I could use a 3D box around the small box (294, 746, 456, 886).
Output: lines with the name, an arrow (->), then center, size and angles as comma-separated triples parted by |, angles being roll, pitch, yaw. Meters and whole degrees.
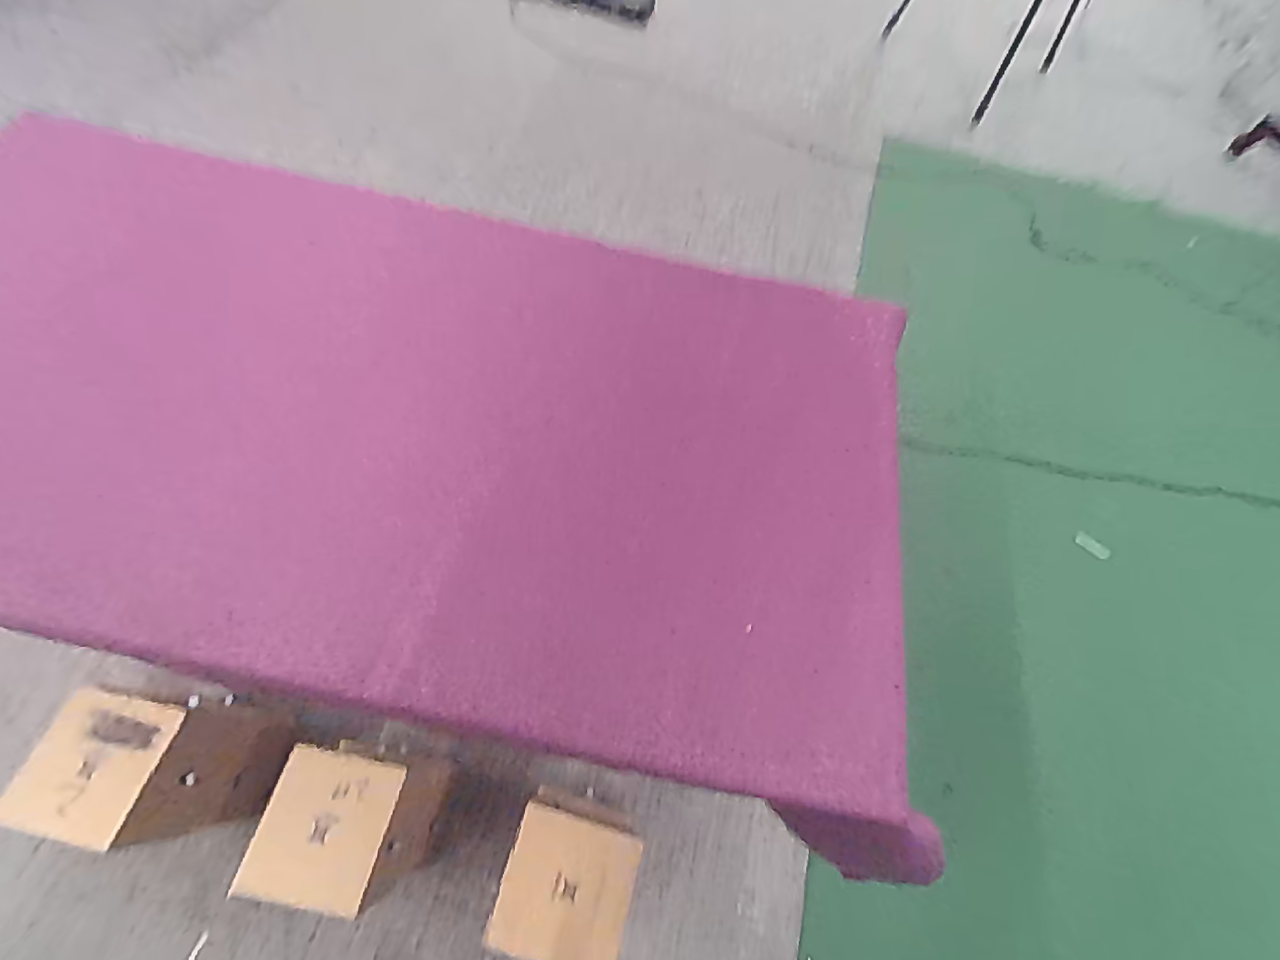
small box -> -0.452, 0.585, 0.955 | 0.179, 0.176, 0.168 | 14, 61, 1
